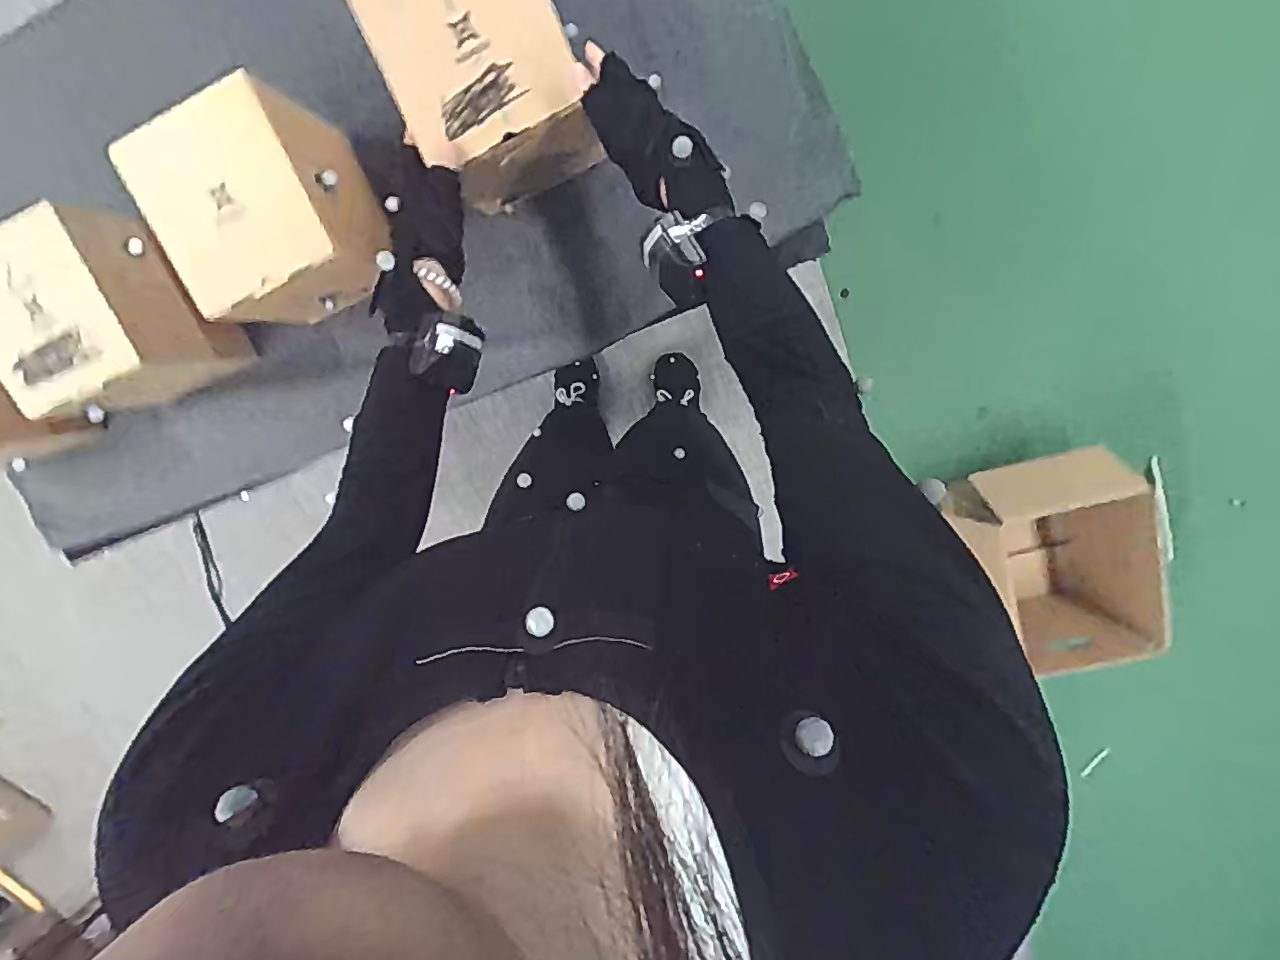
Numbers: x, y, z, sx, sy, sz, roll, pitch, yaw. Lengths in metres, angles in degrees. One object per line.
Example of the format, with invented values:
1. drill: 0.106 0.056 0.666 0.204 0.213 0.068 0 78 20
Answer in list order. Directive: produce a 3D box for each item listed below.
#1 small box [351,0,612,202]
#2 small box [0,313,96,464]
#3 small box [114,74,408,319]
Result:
1. small box: -0.144 -0.414 0.564 0.168 0.176 0.179 -23 104 13
2. small box: -0.871 -0.109 0.680 0.168 0.176 0.179 -18 102 8
3. small box: -0.403 -0.295 0.610 0.168 0.176 0.179 -21 103 8
